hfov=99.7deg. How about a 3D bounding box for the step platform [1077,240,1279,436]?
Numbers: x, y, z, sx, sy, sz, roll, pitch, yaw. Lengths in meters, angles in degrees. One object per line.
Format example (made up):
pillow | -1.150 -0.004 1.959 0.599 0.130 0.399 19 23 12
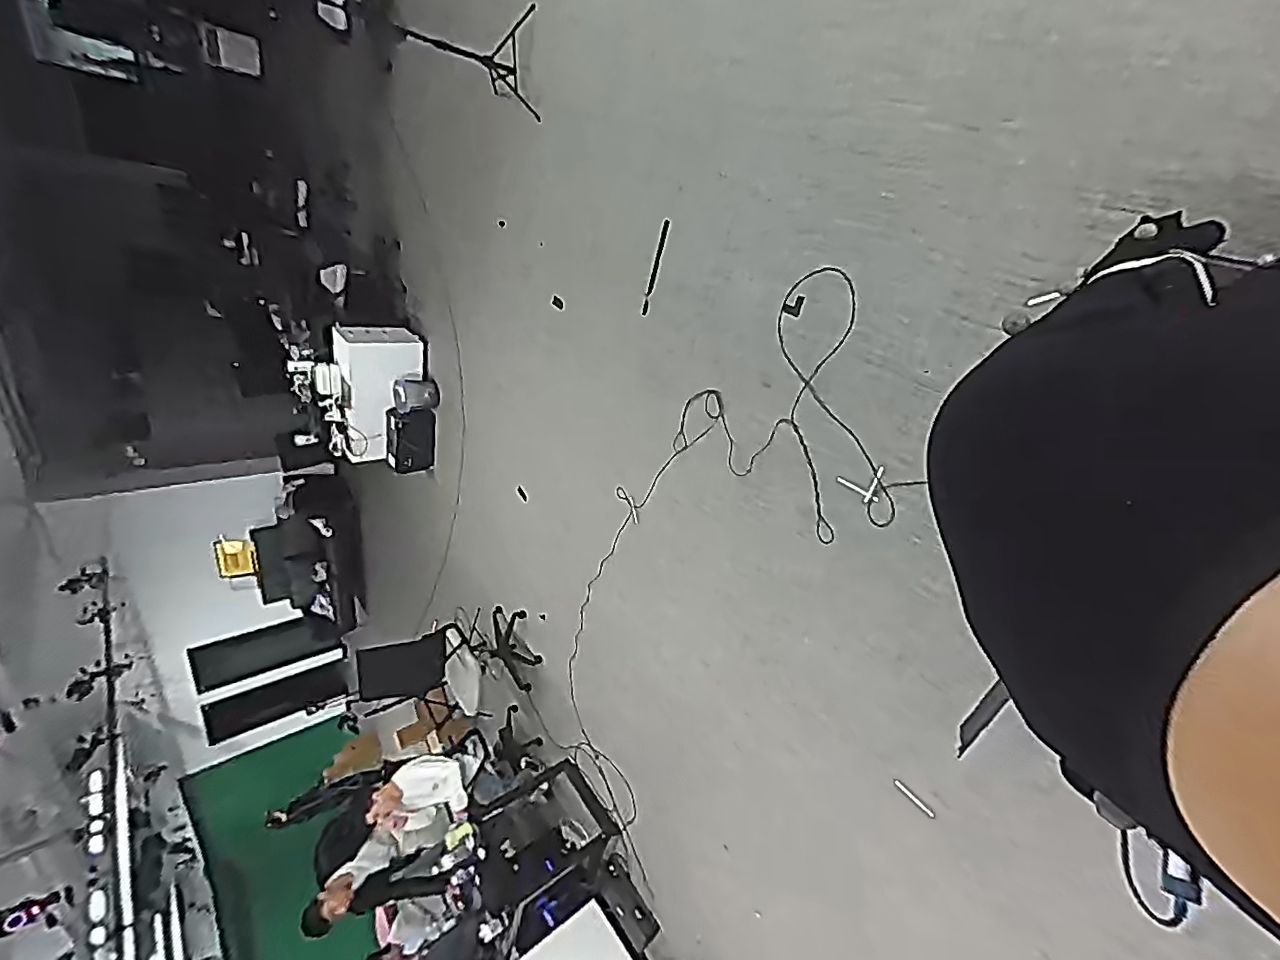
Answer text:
step platform | 1.242 -0.226 0.990 0.684 0.204 0.286 36 125 37
